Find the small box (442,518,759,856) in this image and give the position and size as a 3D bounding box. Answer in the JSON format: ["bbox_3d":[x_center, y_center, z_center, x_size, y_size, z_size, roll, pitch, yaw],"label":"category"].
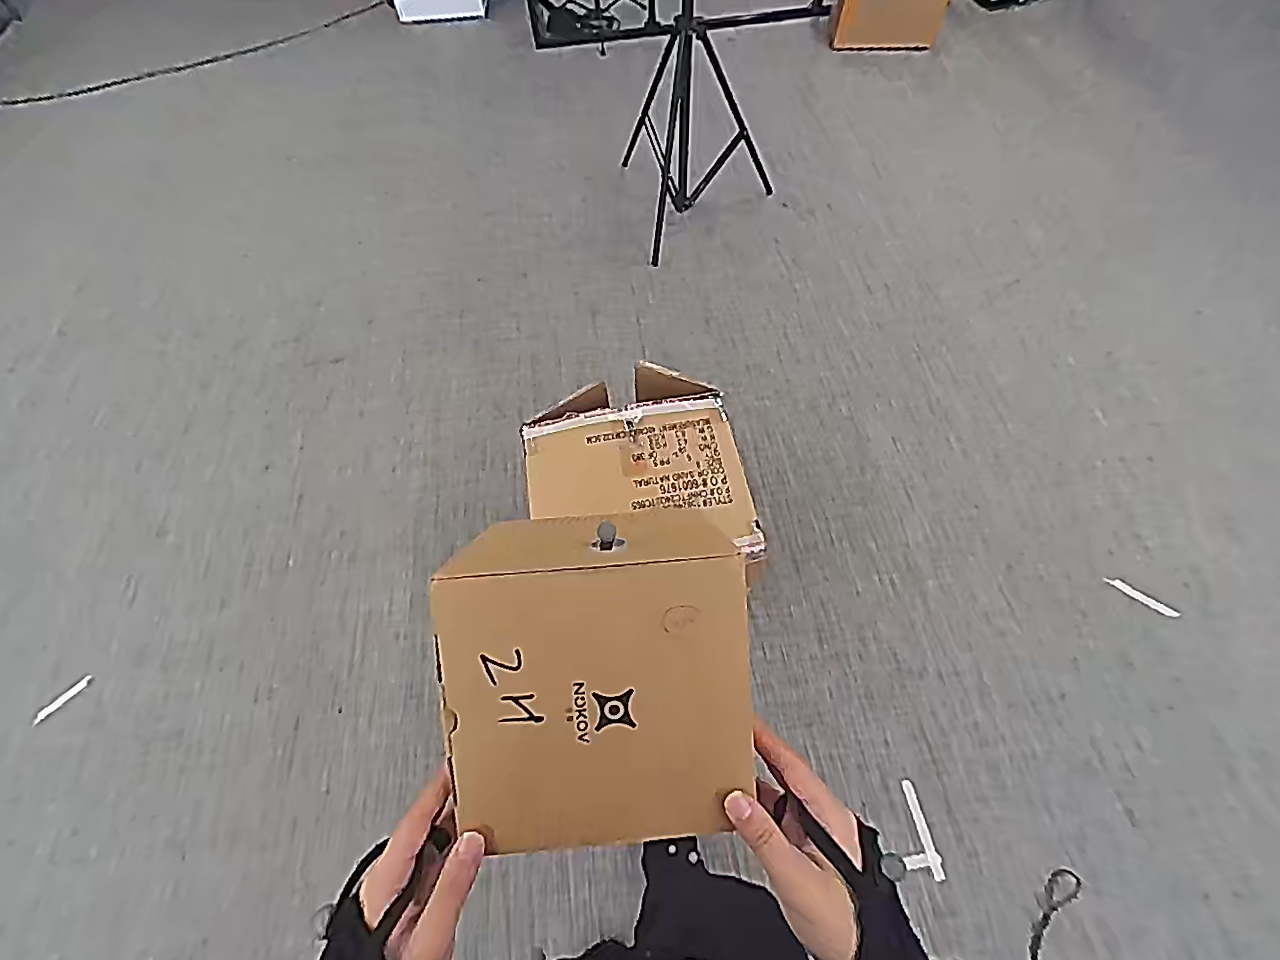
[{"bbox_3d":[-0.024,0.125,0.390,0.179,0.176,0.168,-4,95,-2],"label":"small box"}]
